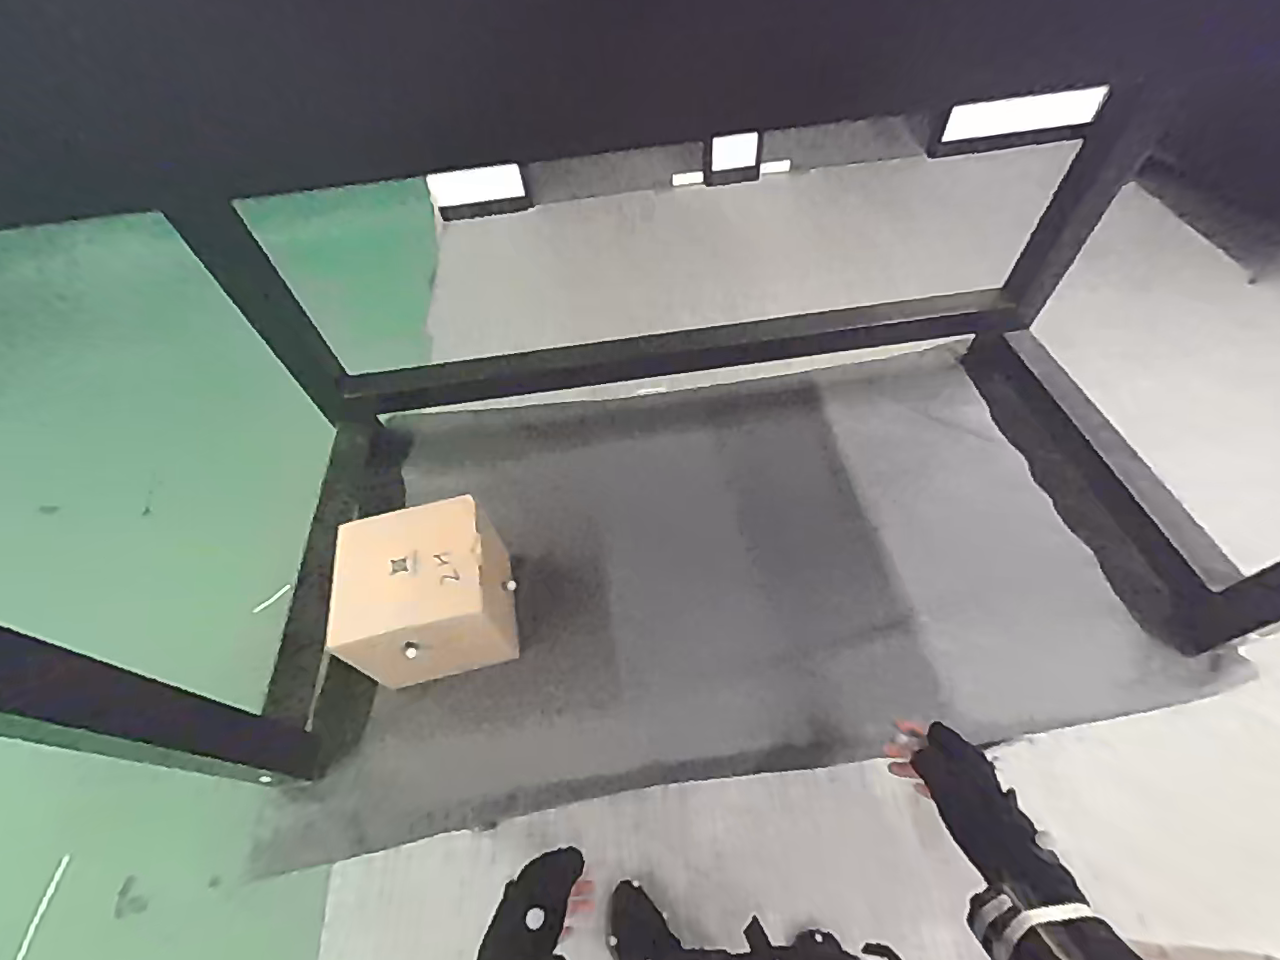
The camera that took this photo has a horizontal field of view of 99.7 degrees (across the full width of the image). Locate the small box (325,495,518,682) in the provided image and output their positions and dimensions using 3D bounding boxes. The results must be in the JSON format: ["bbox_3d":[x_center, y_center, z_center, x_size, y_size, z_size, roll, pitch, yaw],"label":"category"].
[{"bbox_3d":[-0.272,0.148,0.708,0.179,0.176,0.168,-12,55,-4],"label":"small box"}]

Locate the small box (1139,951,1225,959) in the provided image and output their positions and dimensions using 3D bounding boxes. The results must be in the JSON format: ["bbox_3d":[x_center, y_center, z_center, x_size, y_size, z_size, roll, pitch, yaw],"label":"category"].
[{"bbox_3d":[0.869,0.839,0.807,0.168,0.176,0.179,-10,53,-2],"label":"small box"}]
